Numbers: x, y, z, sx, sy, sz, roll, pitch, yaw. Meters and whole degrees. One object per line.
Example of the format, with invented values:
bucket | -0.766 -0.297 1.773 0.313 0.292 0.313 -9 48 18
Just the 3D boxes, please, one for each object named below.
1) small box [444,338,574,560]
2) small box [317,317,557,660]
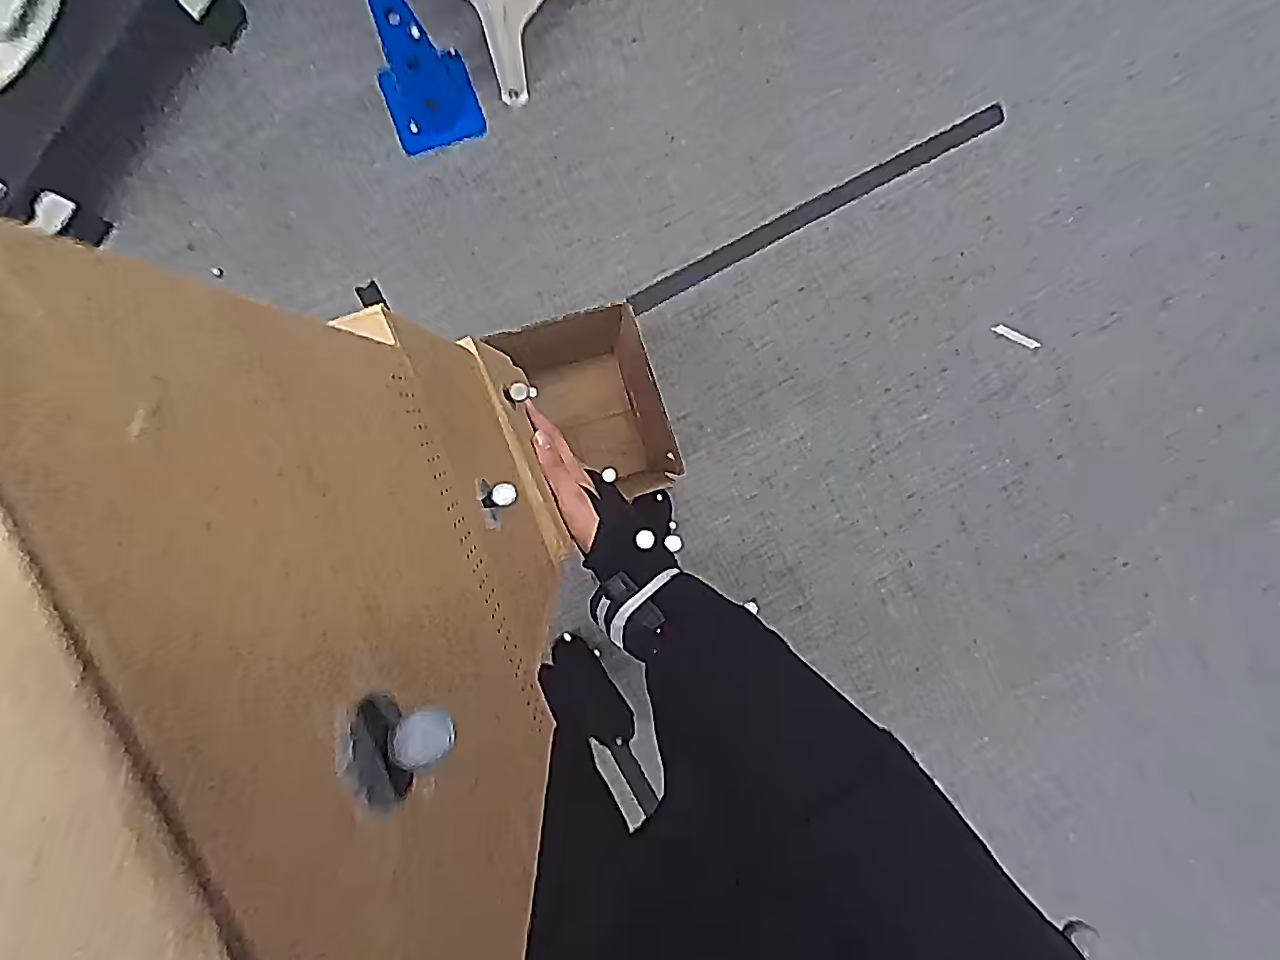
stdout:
small box | -0.165 -0.004 0.472 0.168 0.176 0.179 -21 99 -1
small box | -0.154 0.026 0.312 0.168 0.176 0.179 -19 98 -2
